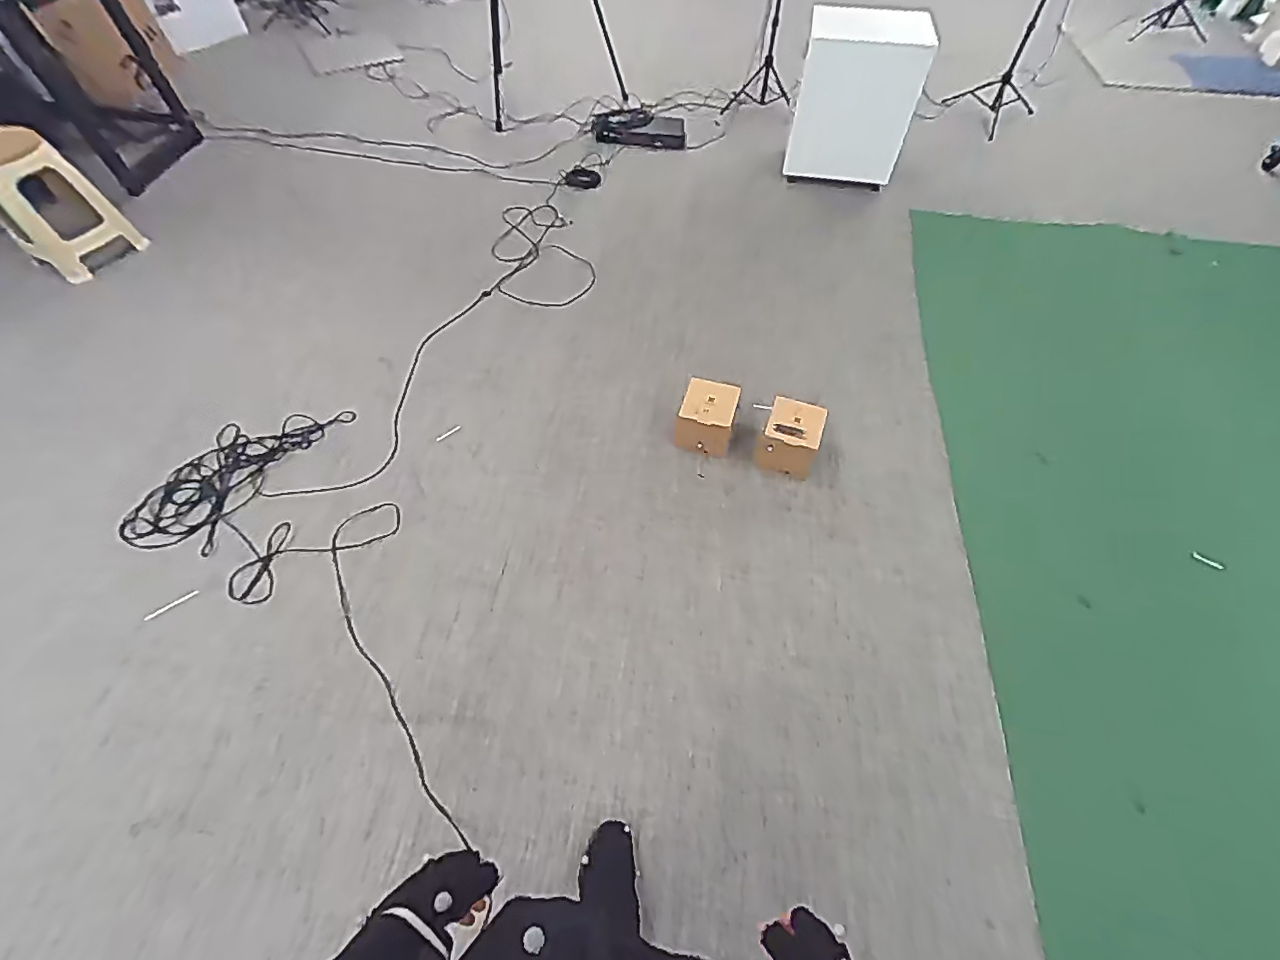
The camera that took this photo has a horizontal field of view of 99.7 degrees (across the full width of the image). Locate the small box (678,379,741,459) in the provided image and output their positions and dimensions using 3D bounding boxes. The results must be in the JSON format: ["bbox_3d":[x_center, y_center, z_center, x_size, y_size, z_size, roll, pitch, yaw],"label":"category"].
[{"bbox_3d":[0.223,-0.198,1.774,0.168,0.176,0.179,14,58,10],"label":"small box"}]
